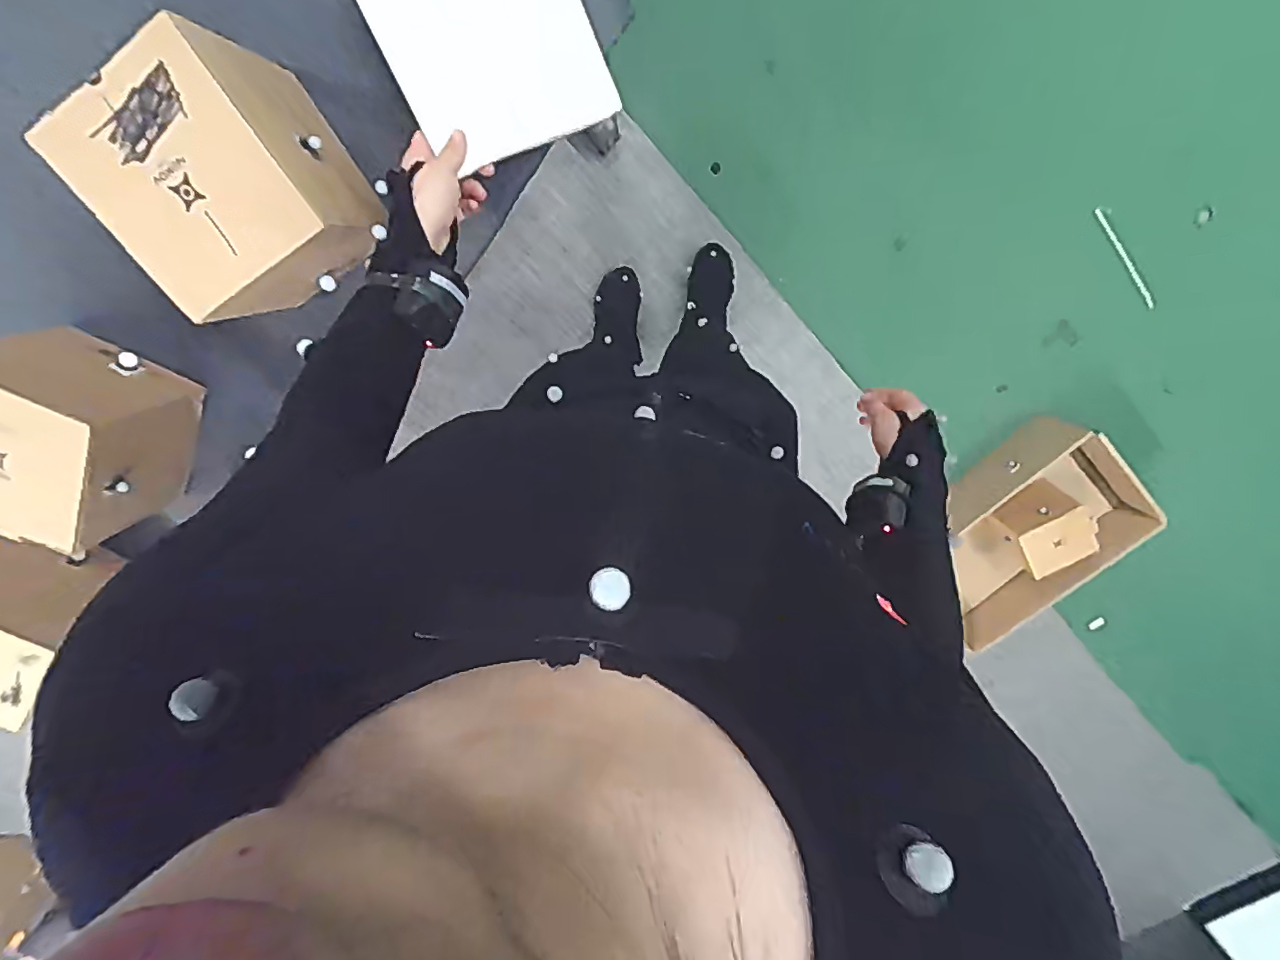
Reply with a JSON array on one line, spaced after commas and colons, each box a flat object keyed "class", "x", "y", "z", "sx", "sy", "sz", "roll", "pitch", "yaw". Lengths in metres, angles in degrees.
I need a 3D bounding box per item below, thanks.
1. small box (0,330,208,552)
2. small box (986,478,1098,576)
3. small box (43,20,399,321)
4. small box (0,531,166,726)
[{"class": "small box", "x": -0.658, "y": -0.053, "z": 0.635, "sx": 0.168, "sy": 0.176, "sz": 0.179, "roll": 25, "pitch": 110, "yaw": -12}, {"class": "small box", "x": 1.100, "y": 0.126, "z": 1.498, "sx": 0.179, "sy": 0.176, "sz": 0.168, "roll": -32, "pitch": 112, "yaw": 13}, {"class": "small box", "x": -0.382, "y": -0.283, "z": 0.533, "sx": 0.168, "sy": 0.176, "sz": 0.179, "roll": -28, "pitch": 112, "yaw": 12}, {"class": "small box", "x": -0.819, "y": 0.184, "z": 0.734, "sx": 0.179, "sy": 0.176, "sz": 0.168, "roll": 36, "pitch": 108, "yaw": -16}]
